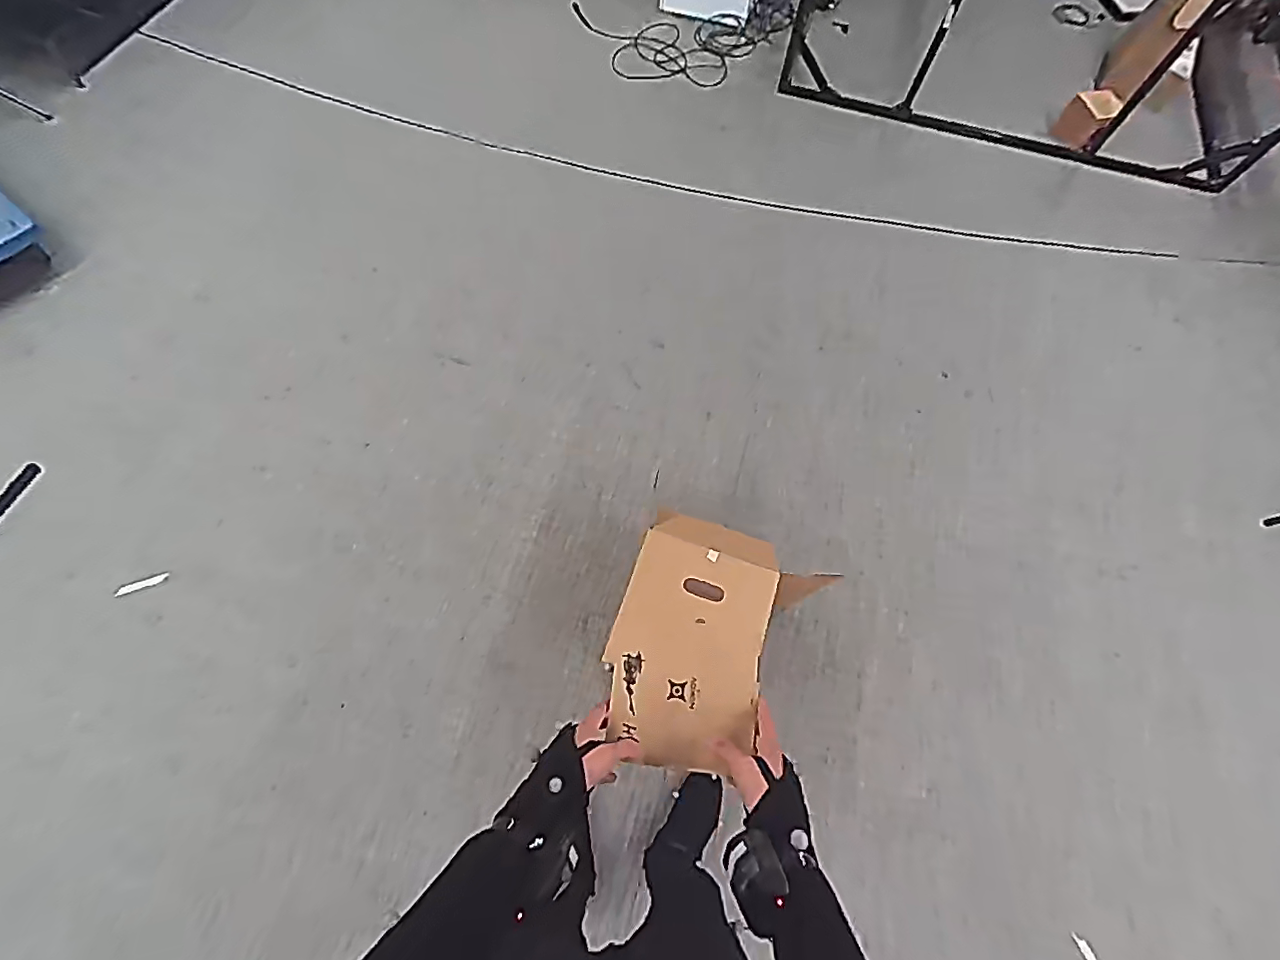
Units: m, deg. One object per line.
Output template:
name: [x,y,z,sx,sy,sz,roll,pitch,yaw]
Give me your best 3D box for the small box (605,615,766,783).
small box: [0.057,0.278,0.709,0.179,0.176,0.168,7,70,4]
